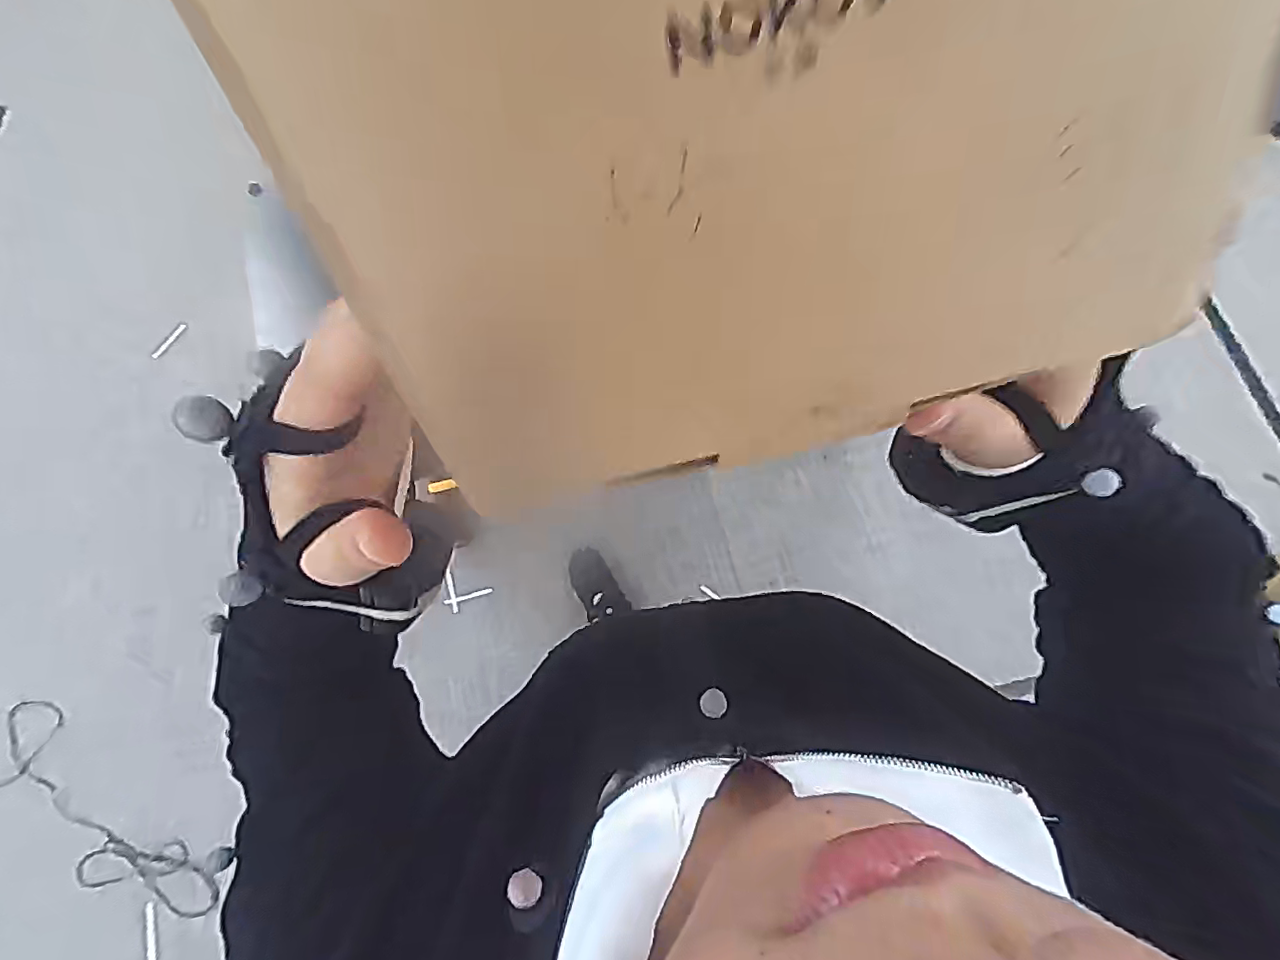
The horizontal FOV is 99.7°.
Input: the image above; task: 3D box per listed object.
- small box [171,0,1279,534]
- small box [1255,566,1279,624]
[{"bbox_3d":[0.012,-0.118,0.145,0.168,0.179,0.176,-15,34,4],"label":"small box"},{"bbox_3d":[1.597,0.267,1.231,0.168,0.176,0.179,-20,78,-3],"label":"small box"}]
